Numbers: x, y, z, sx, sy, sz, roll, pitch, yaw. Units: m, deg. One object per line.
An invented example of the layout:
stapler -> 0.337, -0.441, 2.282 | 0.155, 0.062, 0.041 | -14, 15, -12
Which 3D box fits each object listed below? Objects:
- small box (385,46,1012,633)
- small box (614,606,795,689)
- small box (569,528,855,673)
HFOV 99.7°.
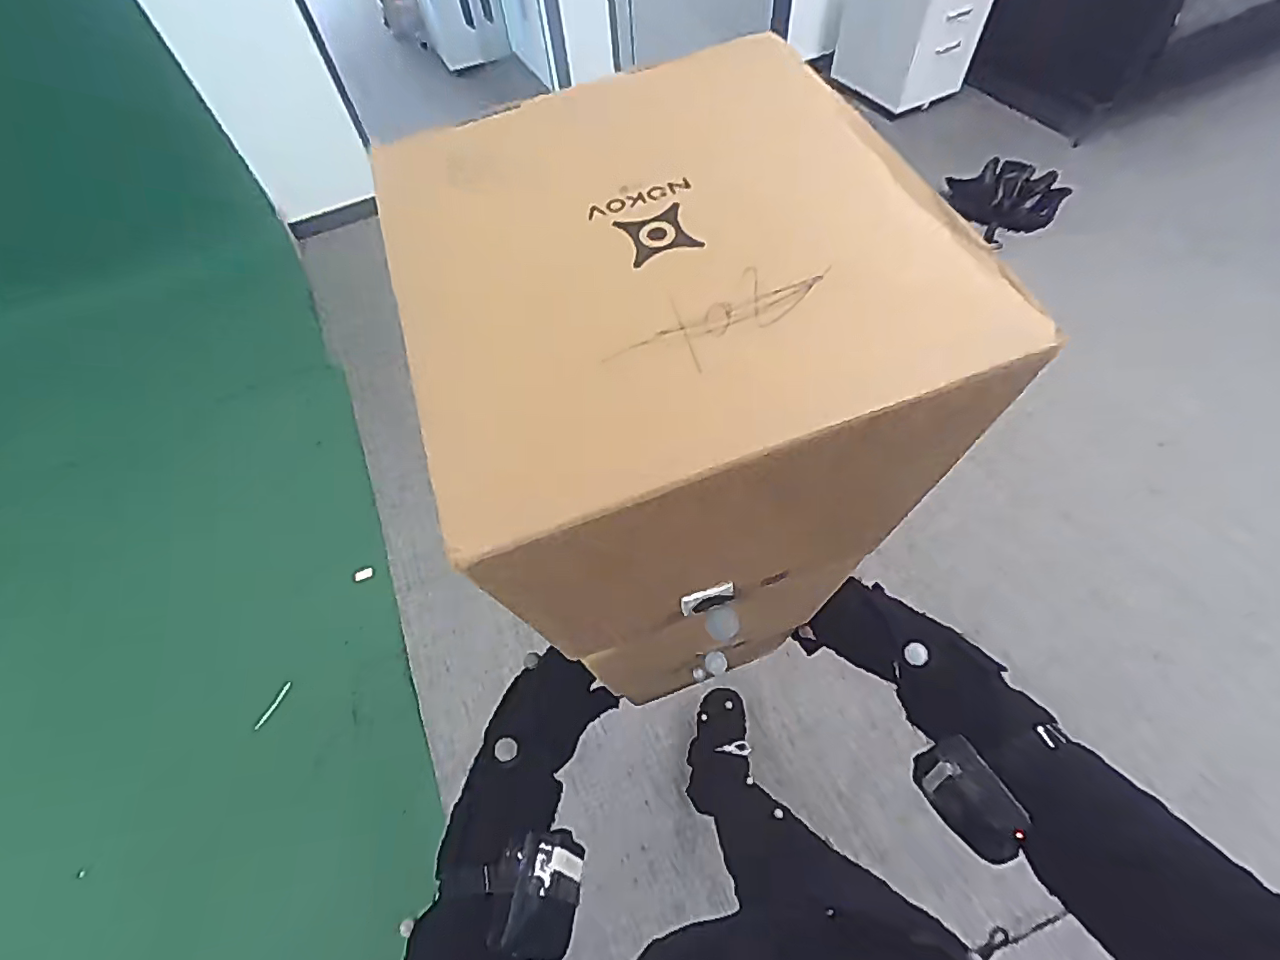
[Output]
small box -> 0.009, -0.049, 0.255 | 0.168, 0.176, 0.179 | -20, 65, -4
small box -> 0.034, 0.092, 0.549 | 0.168, 0.176, 0.179 | -20, 63, -5
small box -> 0.021, 0.022, 0.400 | 0.168, 0.176, 0.179 | -20, 64, -5
